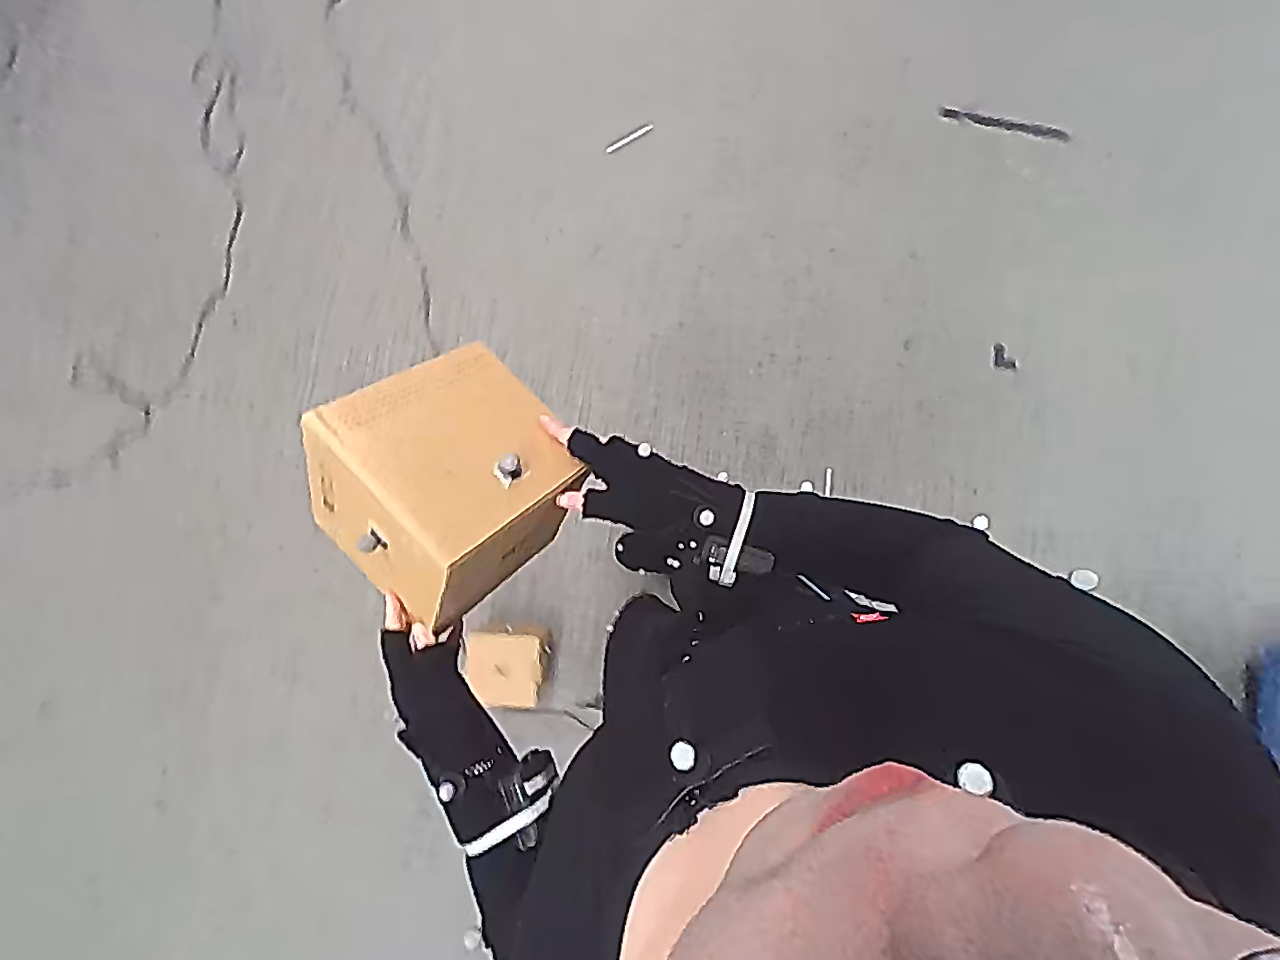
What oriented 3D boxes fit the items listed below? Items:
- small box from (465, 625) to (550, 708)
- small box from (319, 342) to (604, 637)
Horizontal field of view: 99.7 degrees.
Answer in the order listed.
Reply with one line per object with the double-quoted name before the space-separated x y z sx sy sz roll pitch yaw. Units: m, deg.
"small box" -0.329 0.467 1.376 0.179 0.176 0.168 3 84 -1
"small box" -0.171 0.005 0.502 0.176 0.168 0.179 44 49 6
